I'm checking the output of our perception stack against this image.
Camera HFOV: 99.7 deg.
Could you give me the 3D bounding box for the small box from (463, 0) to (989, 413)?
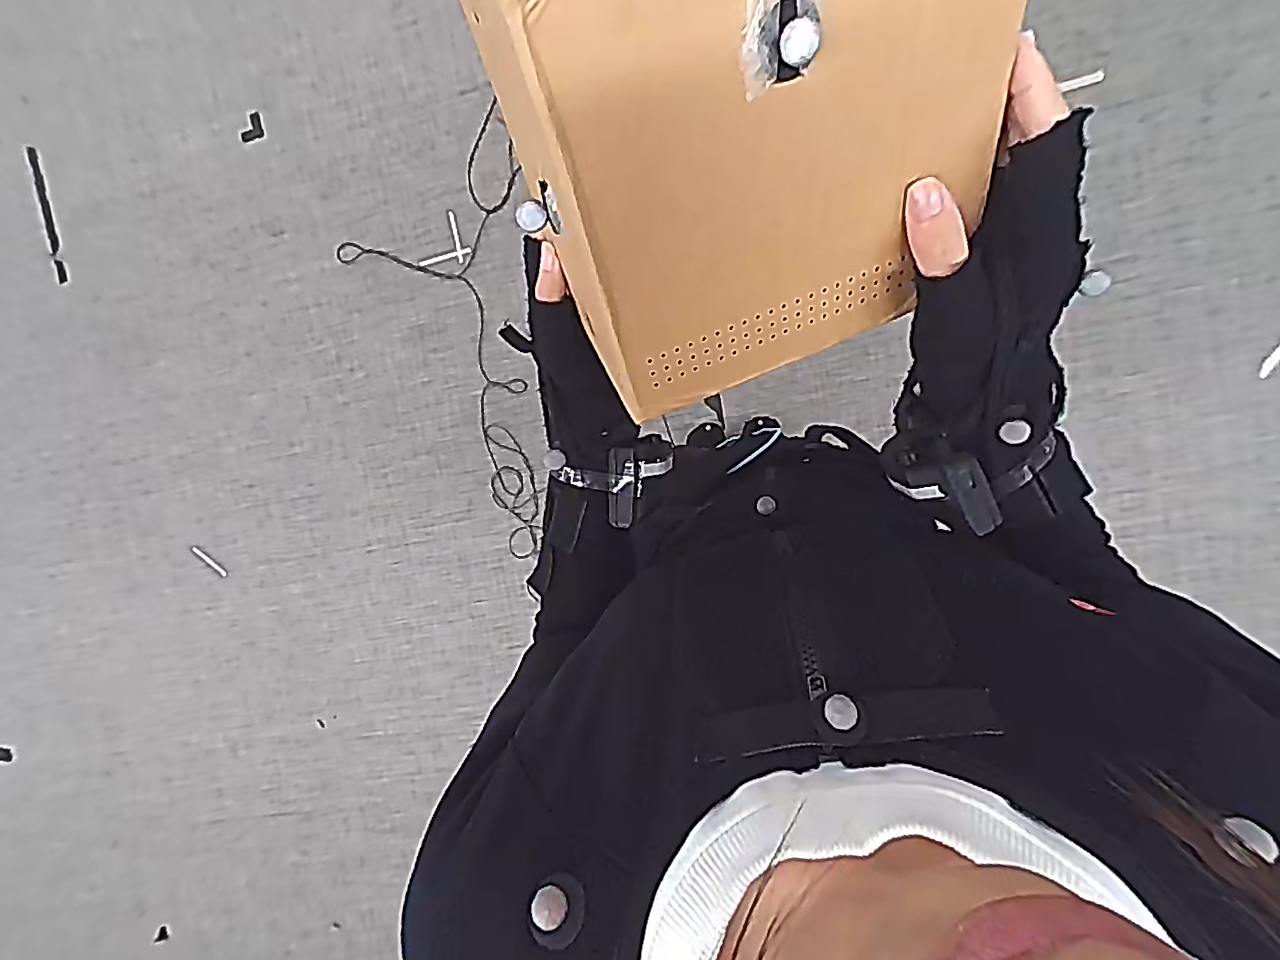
[{"bbox_3d":[0.037,-0.160,0.263,0.179,0.168,0.176,-22,135,-3],"label":"small box"}]
